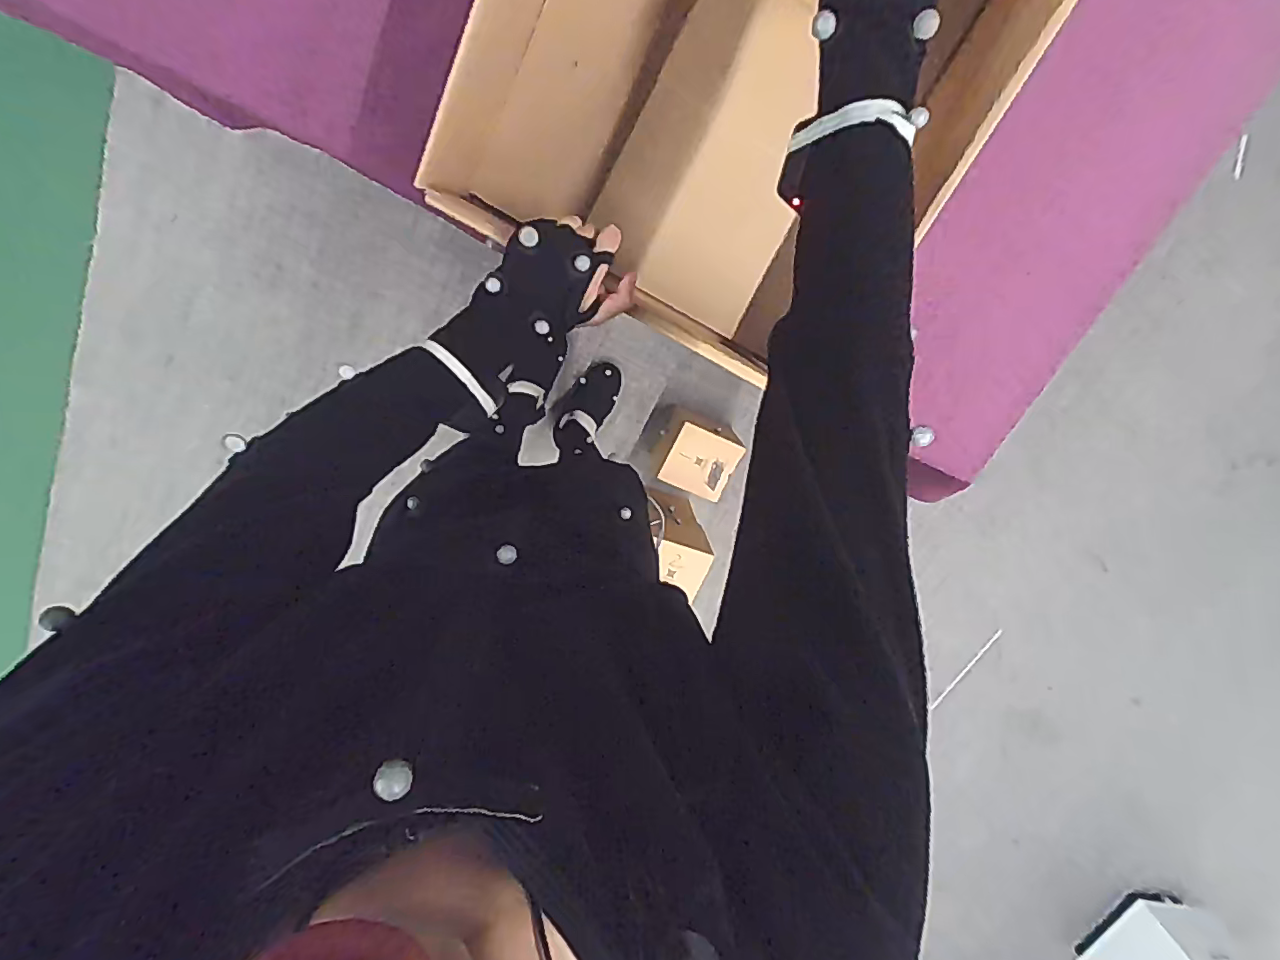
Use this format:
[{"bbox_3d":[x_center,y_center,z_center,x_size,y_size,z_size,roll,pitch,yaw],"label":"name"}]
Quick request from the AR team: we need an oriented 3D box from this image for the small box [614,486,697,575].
[{"bbox_3d":[0.035,0.134,1.508,0.179,0.176,0.168,19,109,-13],"label":"small box"}]
